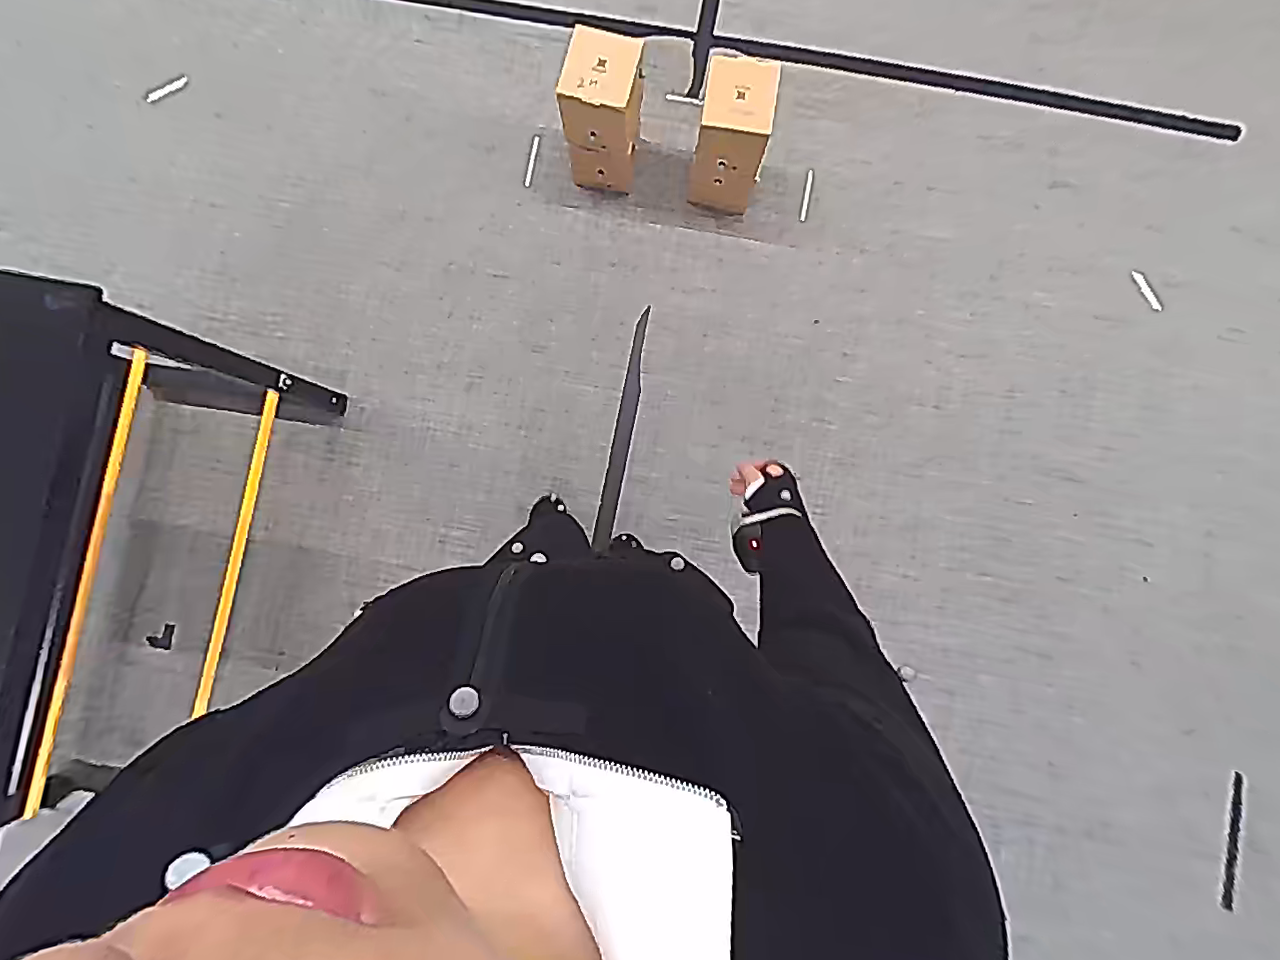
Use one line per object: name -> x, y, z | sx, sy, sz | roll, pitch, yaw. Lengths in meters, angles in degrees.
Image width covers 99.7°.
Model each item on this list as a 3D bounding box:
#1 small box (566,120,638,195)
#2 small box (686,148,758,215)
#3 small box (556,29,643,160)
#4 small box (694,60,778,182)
small box -> -0.099, -0.920, 1.487 | 0.168, 0.176, 0.179 | 10, 87, 0
small box -> 0.231, -0.862, 1.489 | 0.179, 0.176, 0.168 | 13, 87, -1
small box -> -0.095, -0.933, 1.322 | 0.168, 0.176, 0.179 | 15, 87, 1
small box -> 0.228, -0.874, 1.327 | 0.168, 0.176, 0.179 | 8, 88, 1
